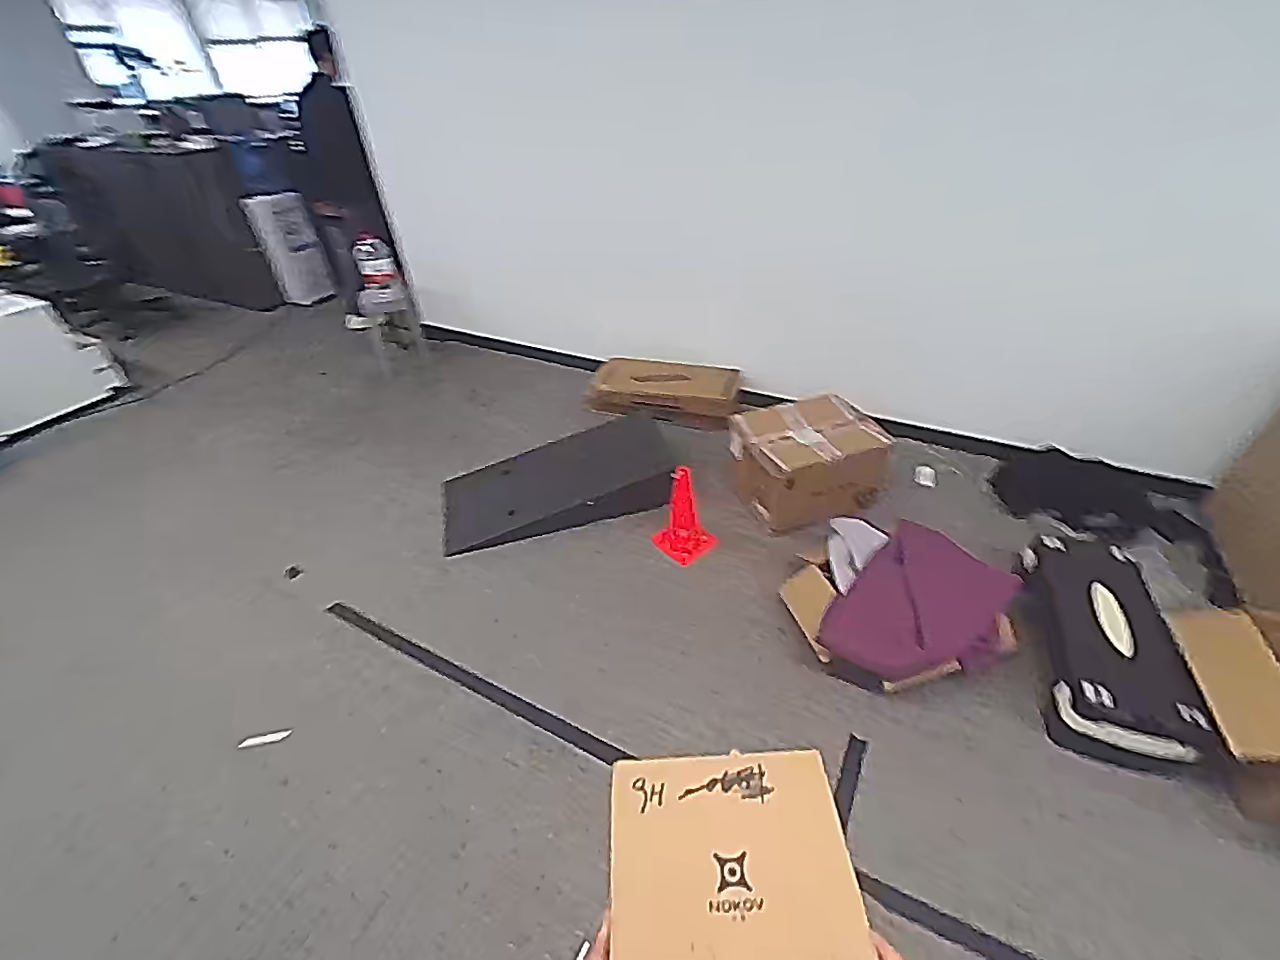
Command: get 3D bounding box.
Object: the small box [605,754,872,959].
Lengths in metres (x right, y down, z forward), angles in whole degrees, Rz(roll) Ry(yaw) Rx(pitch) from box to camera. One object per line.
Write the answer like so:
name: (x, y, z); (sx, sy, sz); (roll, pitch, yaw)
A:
small box: (0.066, 0.337, 0.405); (0.168, 0.176, 0.179); (-6, 39, 0)
